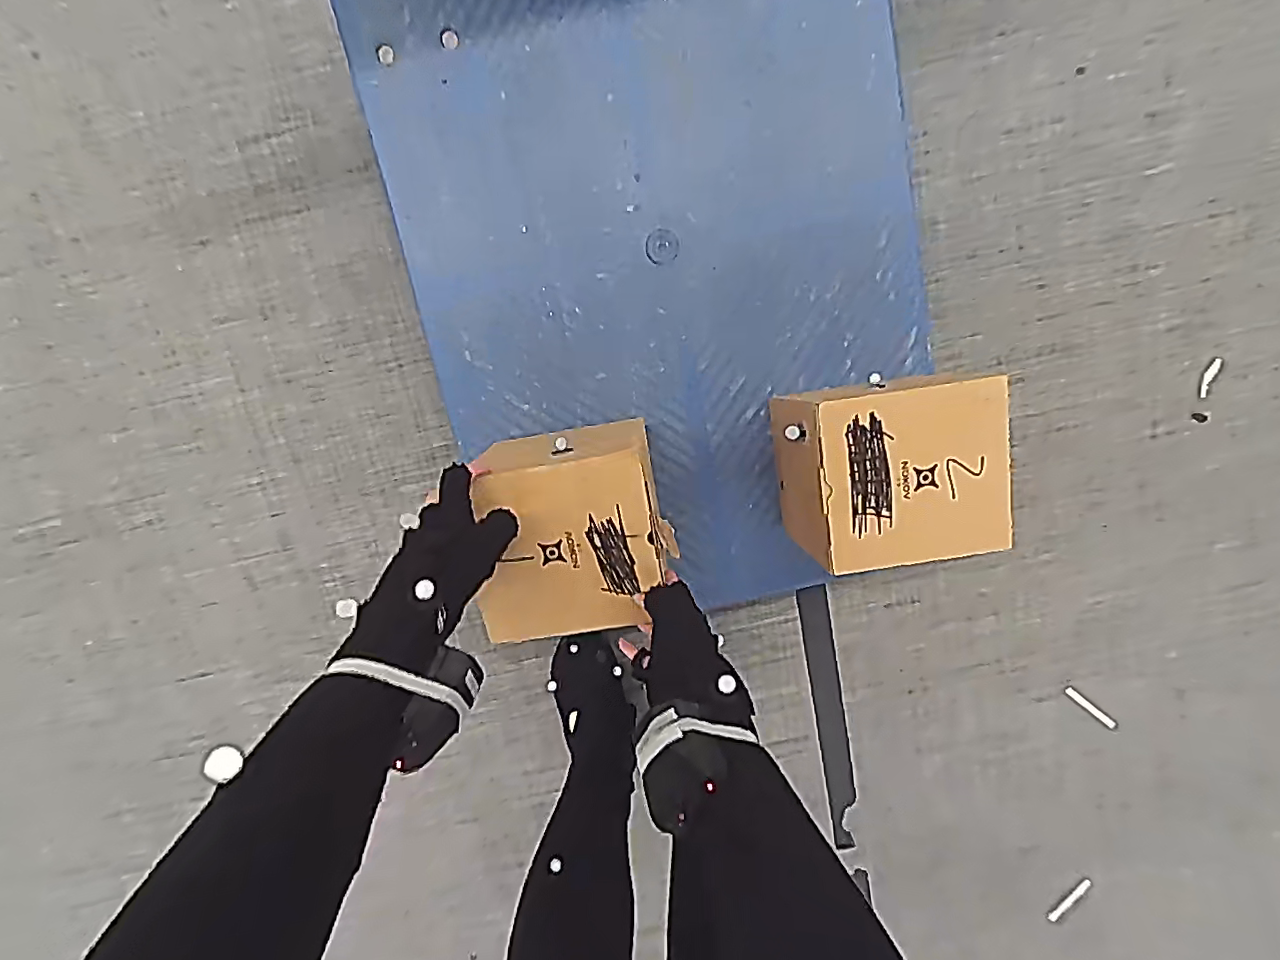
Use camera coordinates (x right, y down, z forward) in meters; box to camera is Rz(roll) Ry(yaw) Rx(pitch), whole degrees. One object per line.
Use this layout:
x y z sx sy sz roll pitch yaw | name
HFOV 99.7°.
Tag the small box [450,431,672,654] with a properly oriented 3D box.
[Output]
-0.066 0.053 0.562 0.179 0.176 0.168 -9 106 5 | small box
